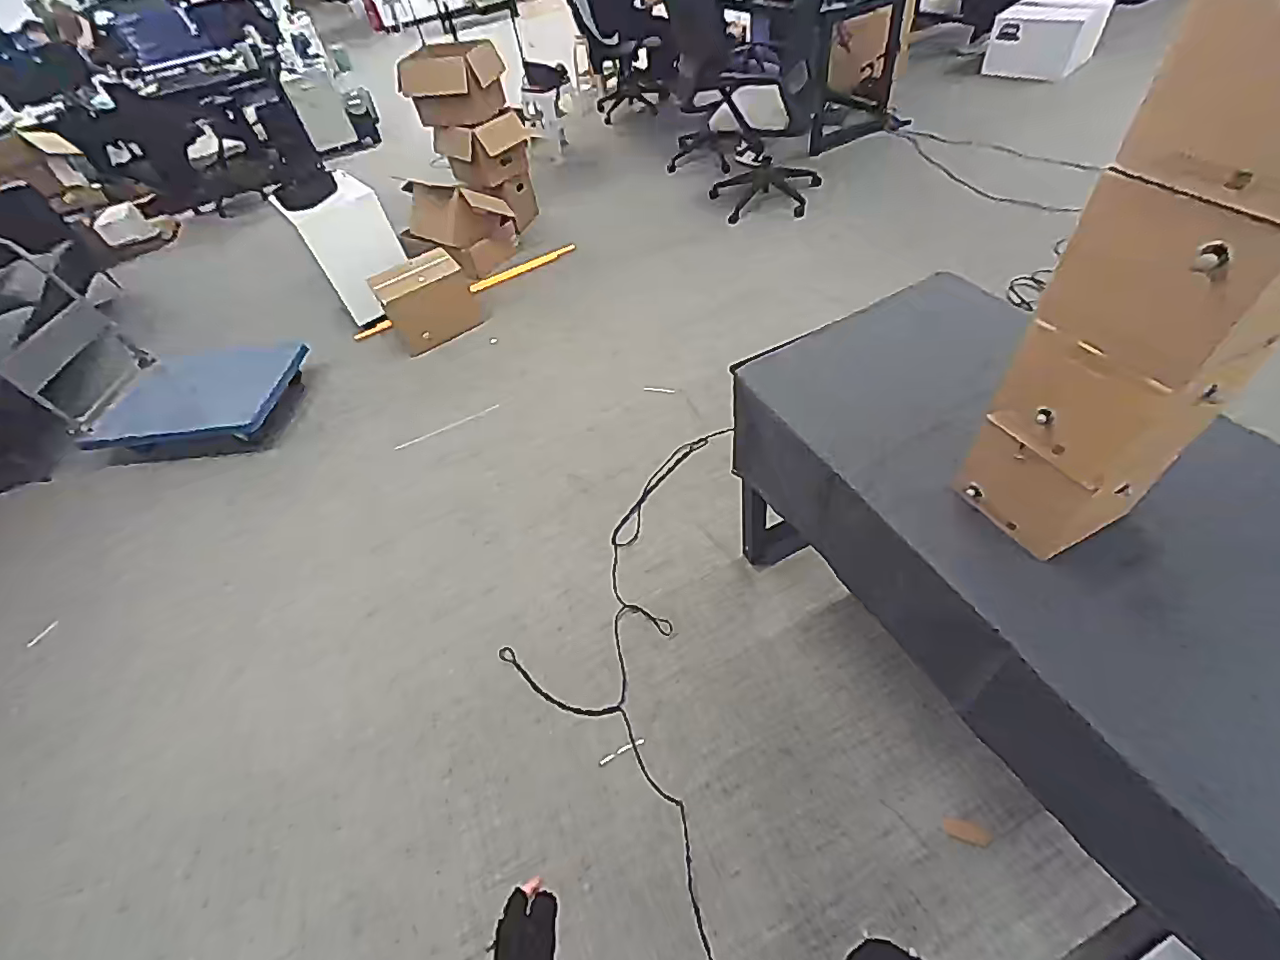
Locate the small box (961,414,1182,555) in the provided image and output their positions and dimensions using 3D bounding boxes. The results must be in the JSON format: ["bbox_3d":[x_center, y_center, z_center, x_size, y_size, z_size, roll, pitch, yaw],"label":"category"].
[{"bbox_3d":[0.613,-0.019,0.801,0.179,0.176,0.168,-25,50,-11],"label":"small box"}]

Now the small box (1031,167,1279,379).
[{"bbox_3d":[0.562,-0.225,0.553,0.168,0.176,0.179,-24,50,-9],"label":"small box"}]

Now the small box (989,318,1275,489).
[{"bbox_3d":[0.588,-0.122,0.679,0.179,0.176,0.168,-25,50,-10],"label":"small box"}]
